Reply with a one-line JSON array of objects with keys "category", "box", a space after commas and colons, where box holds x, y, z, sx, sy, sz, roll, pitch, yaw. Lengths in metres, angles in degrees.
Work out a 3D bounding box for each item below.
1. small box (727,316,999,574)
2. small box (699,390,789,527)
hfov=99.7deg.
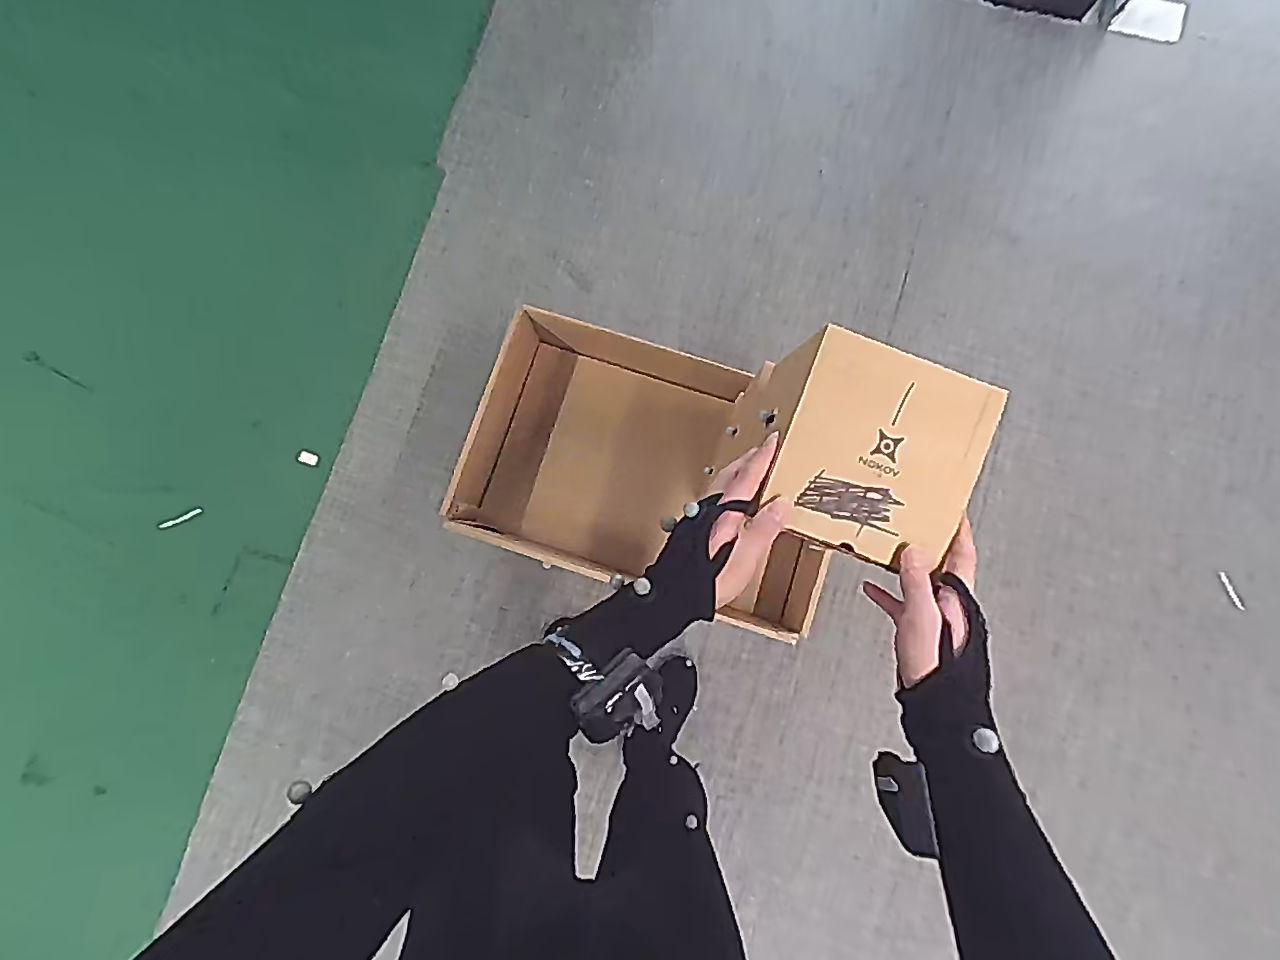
[{"category": "small box", "box": [0.196, -0.029, 0.533, 0.168, 0.176, 0.179, 21, 90, -1]}, {"category": "small box", "box": [0.206, -0.028, 0.923, 0.168, 0.176, 0.179, 19, 84, 3]}]
